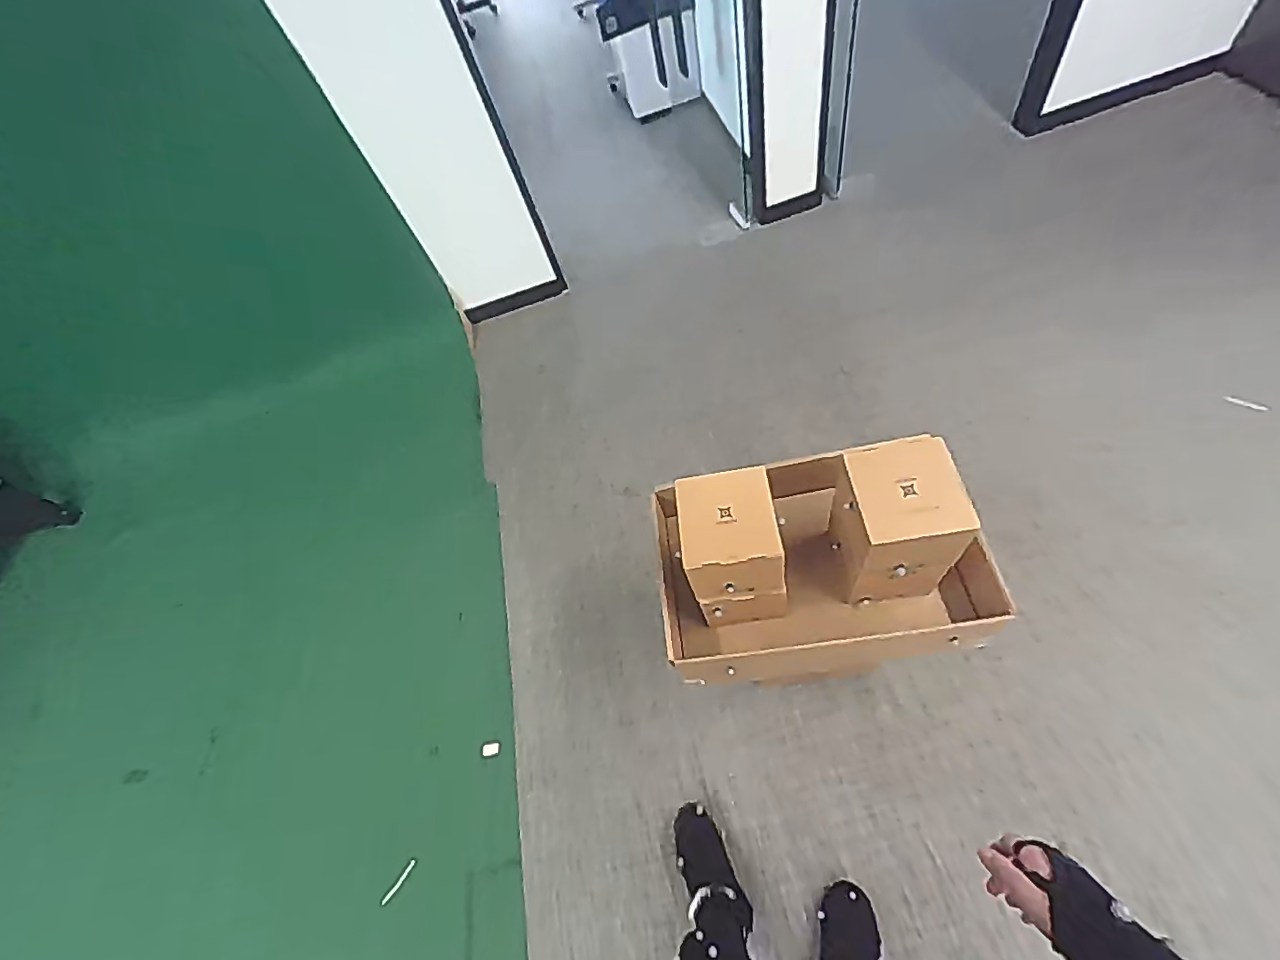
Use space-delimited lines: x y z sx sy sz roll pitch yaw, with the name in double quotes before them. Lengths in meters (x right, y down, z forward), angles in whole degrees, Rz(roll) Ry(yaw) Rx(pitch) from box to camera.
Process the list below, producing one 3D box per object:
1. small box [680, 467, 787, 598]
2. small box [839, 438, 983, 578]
"small box" 0.169 0.100 0.992 0.168 0.176 0.179 -9 58 9
"small box" 0.456 0.054 0.945 0.168 0.176 0.179 -10 59 9
